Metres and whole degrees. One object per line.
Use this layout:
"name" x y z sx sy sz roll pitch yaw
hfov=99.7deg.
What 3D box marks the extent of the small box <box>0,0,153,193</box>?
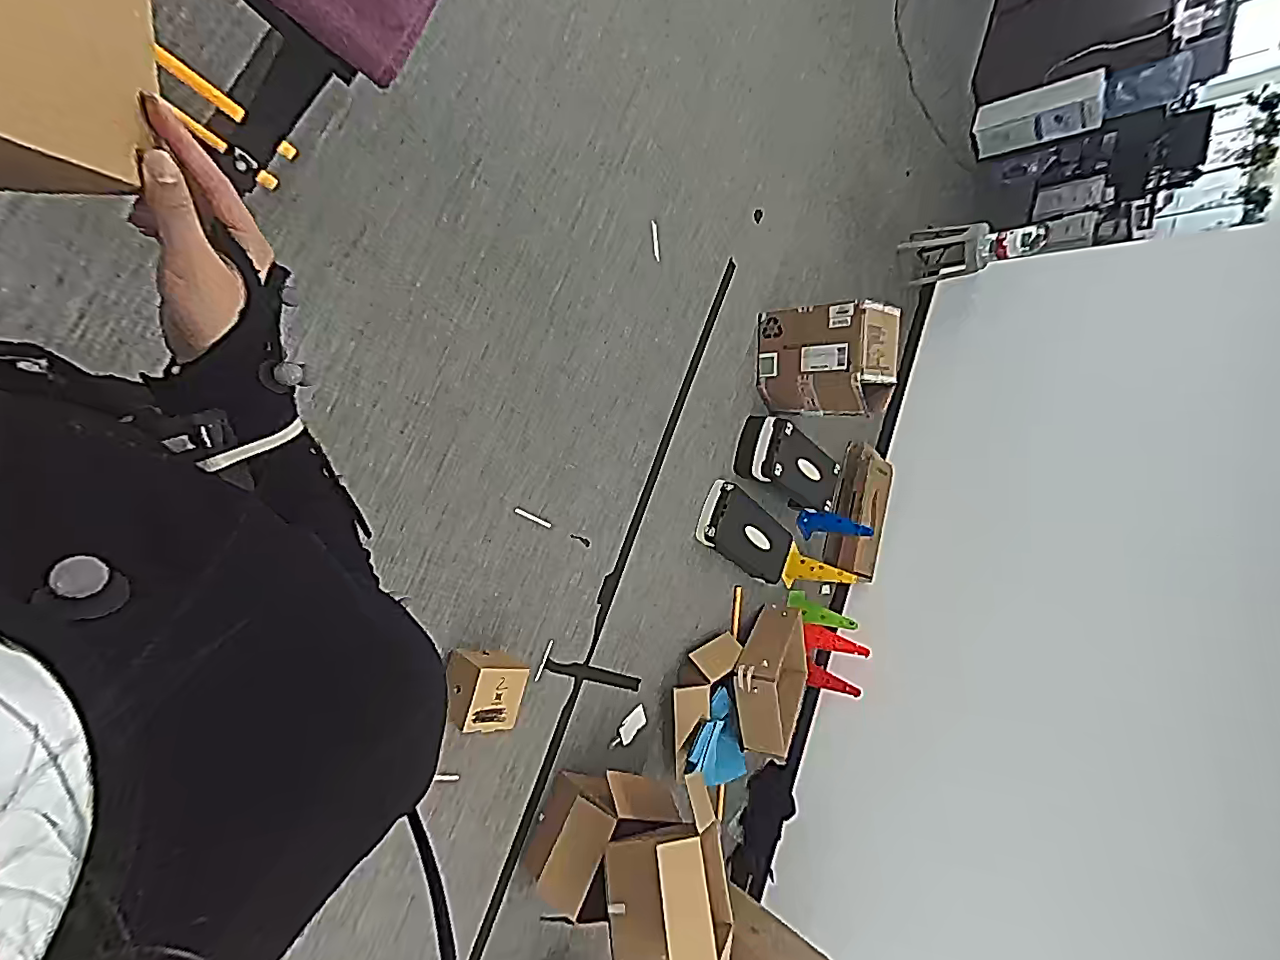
"small box" -0.337 -0.230 0.197 0.179 0.168 0.176 4 102 -2
